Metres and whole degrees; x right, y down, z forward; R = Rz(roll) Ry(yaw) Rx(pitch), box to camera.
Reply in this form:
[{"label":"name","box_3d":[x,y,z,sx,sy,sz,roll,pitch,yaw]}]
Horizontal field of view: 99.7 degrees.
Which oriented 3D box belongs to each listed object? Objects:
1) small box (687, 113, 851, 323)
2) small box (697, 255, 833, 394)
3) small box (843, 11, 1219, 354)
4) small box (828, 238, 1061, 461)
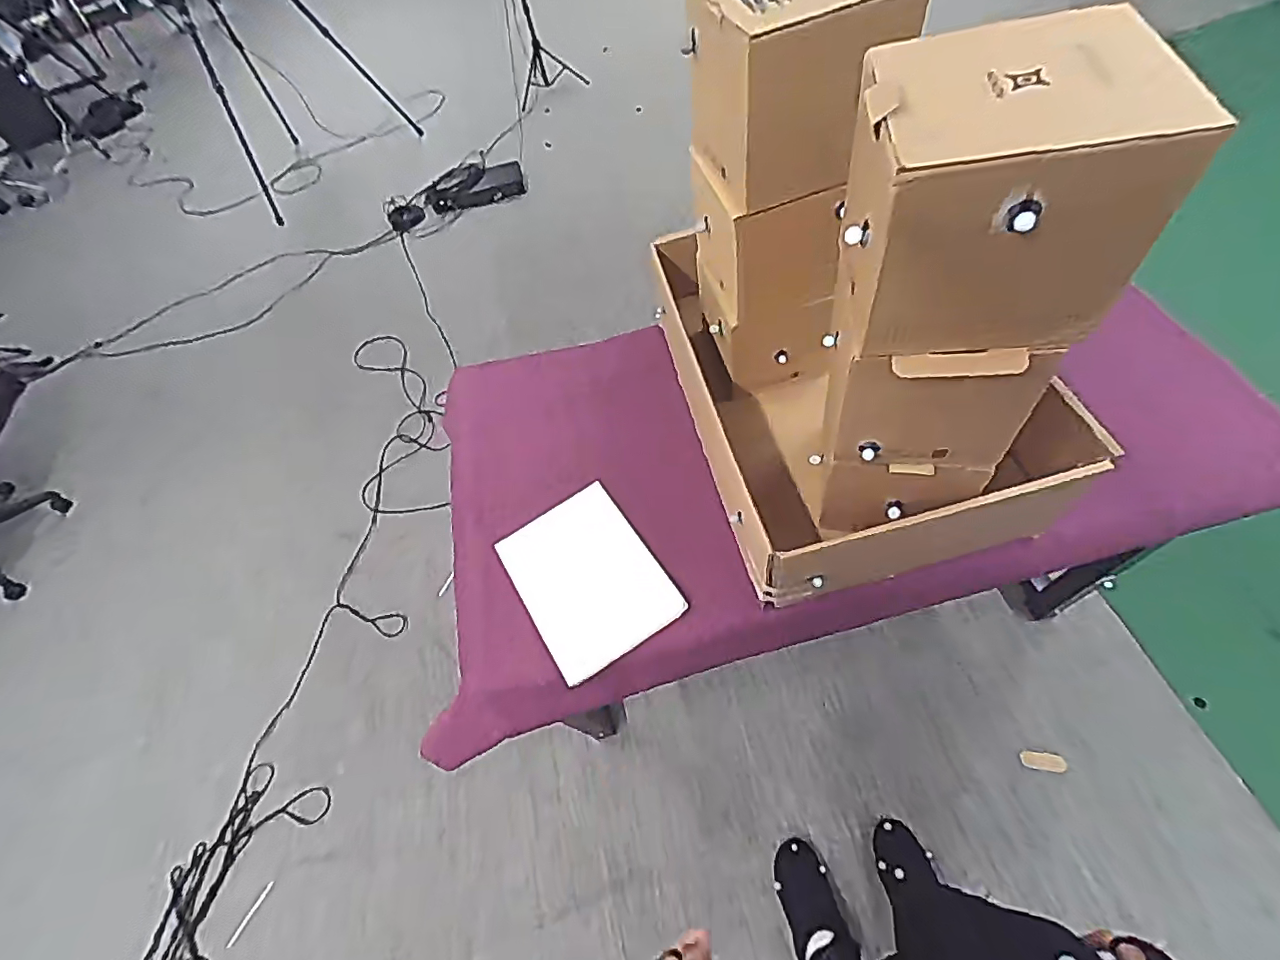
[{"label":"small box","box_3d":[0.175,-0.338,0.717,0.179,0.176,0.168,-18,58,0]},{"label":"small box","box_3d":[0.197,-0.257,0.856,0.168,0.176,0.179,-16,59,2]},{"label":"small box","box_3d":[0.259,-0.215,0.422,0.179,0.176,0.168,-1,58,13]},{"label":"small box","box_3d":[0.288,-0.132,0.559,0.168,0.176,0.179,1,58,14]}]
